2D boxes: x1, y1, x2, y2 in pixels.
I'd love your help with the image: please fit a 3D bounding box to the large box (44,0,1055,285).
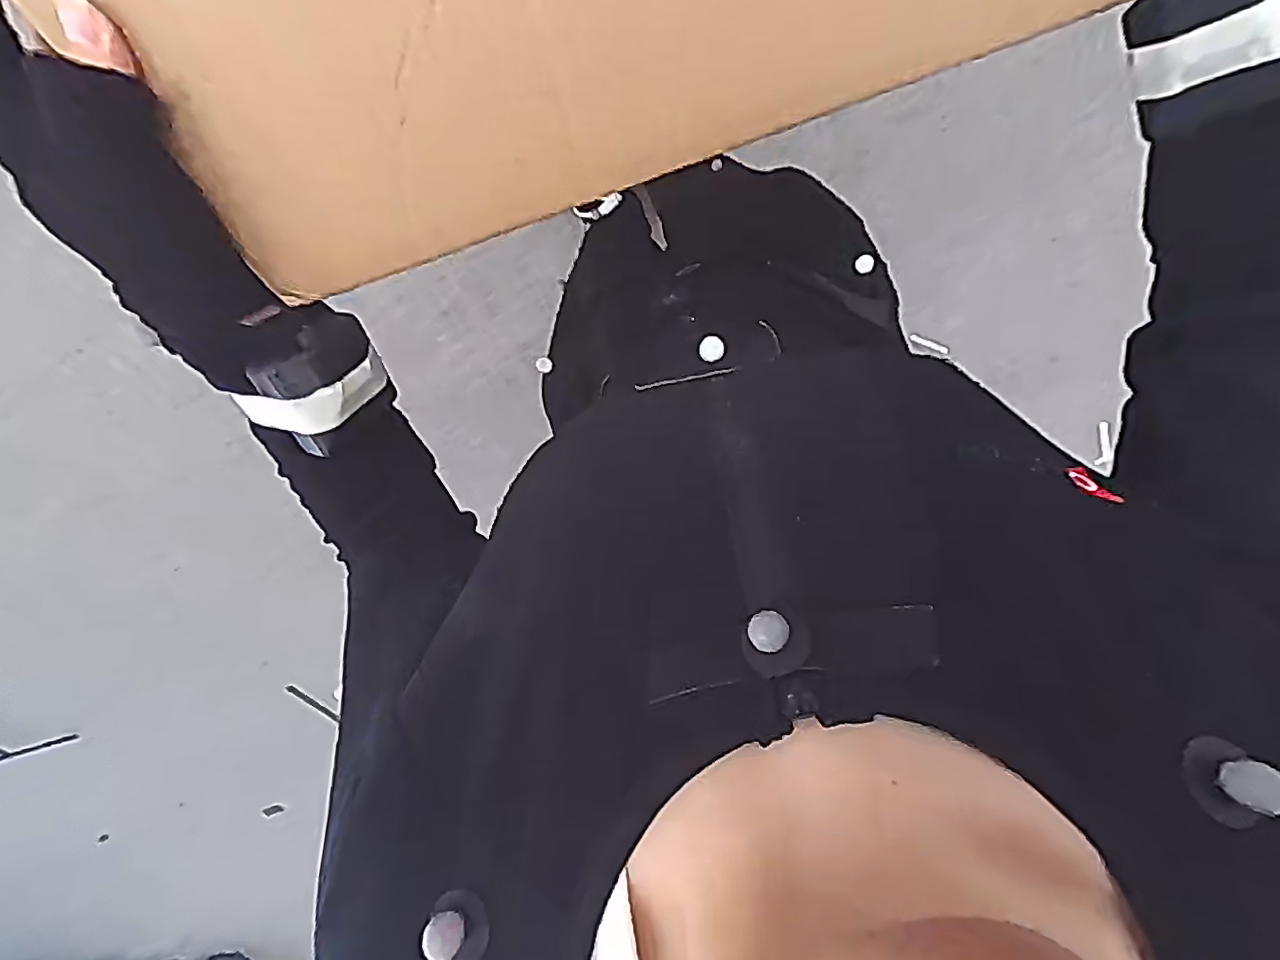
[{"bbox_3d":[-0.050,-0.359,0.240,0.408,0.320,0.320,-16,137,8],"label":"large box"}]
